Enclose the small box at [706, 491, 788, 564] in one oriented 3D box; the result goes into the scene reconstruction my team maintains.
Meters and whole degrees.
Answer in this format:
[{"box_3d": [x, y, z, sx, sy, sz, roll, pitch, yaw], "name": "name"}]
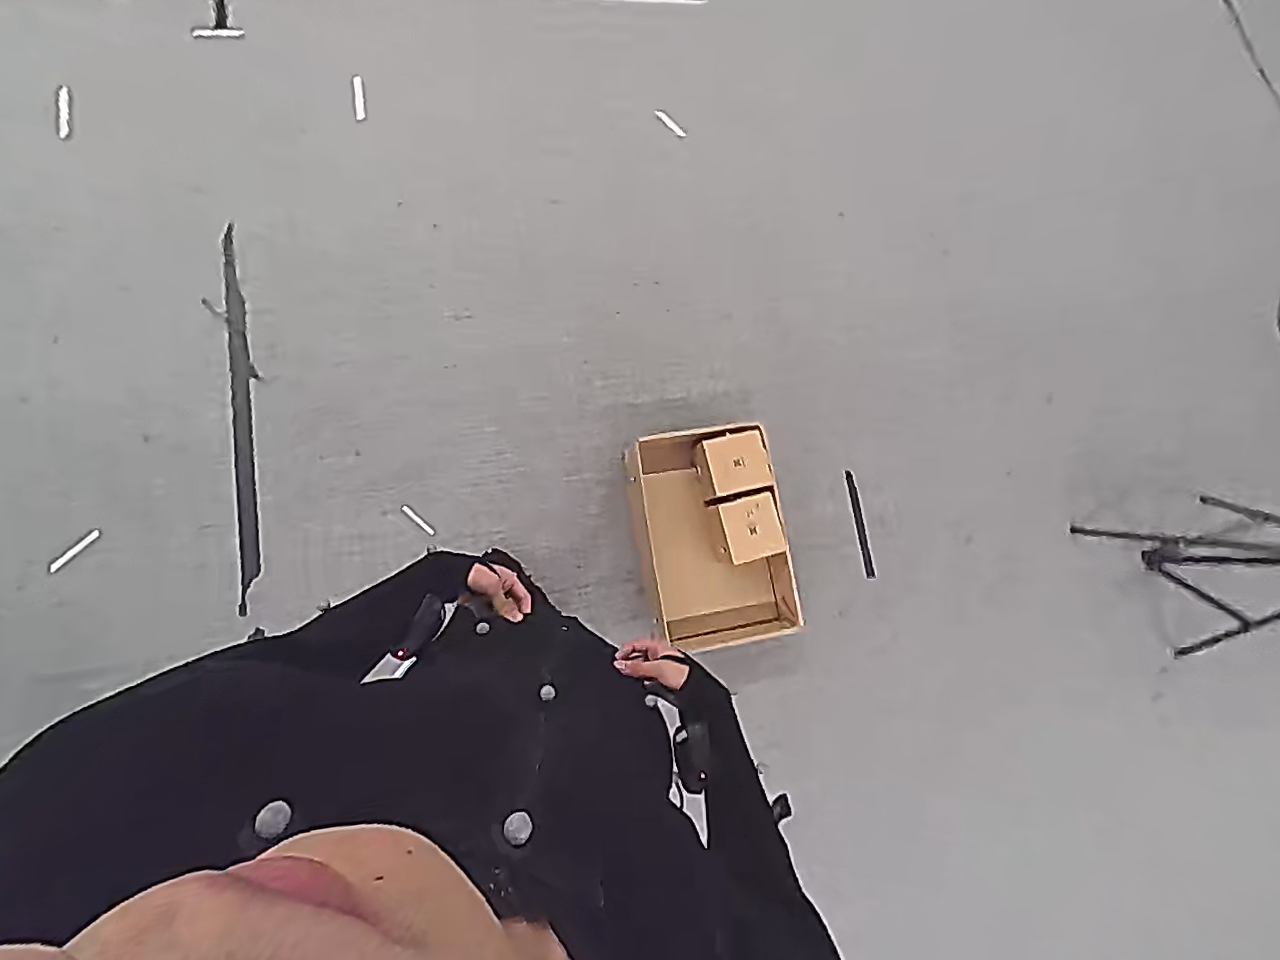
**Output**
[{"box_3d": [0.309, 0.139, 1.594, 0.168, 0.176, 0.179, -14, 86, -10], "name": "small box"}]
